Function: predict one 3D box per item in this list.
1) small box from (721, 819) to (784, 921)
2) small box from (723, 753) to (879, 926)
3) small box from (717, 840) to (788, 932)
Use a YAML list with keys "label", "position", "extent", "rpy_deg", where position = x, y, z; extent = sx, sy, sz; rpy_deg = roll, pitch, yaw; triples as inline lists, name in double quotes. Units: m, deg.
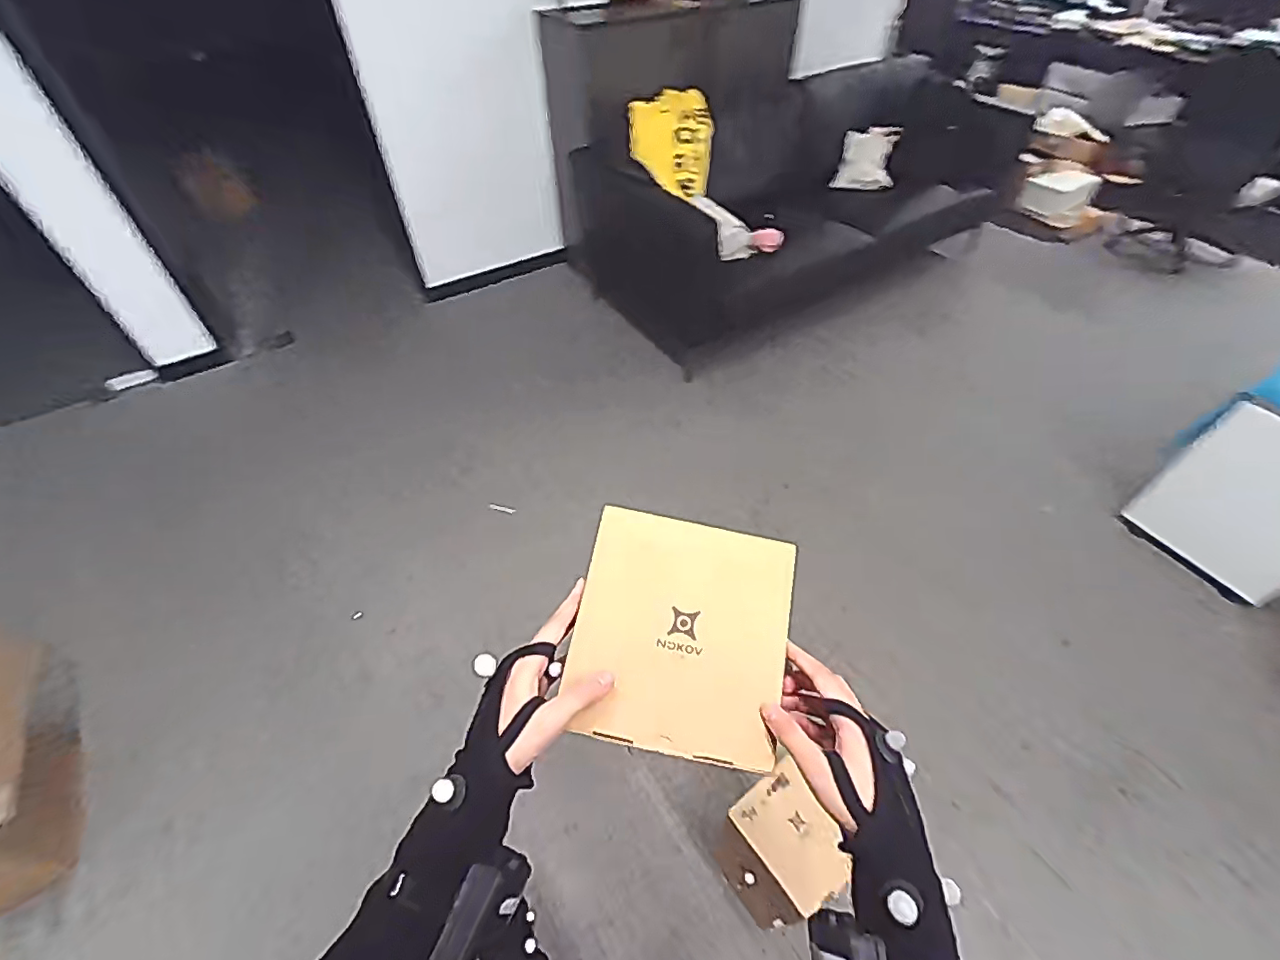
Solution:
- label: "small box"
  position: [0.274, 0.710, 1.047]
  extent: [0.168, 0.176, 0.179]
  rpy_deg: [-28, 53, -20]
- label: "small box"
  position: [0.261, 0.608, 0.918]
  extent: [0.168, 0.176, 0.179]
  rpy_deg: [-29, 54, -22]
- label: "small box"
  position: [0.282, 0.826, 1.162]
  extent: [0.168, 0.176, 0.179]
  rpy_deg: [-27, 53, -21]
